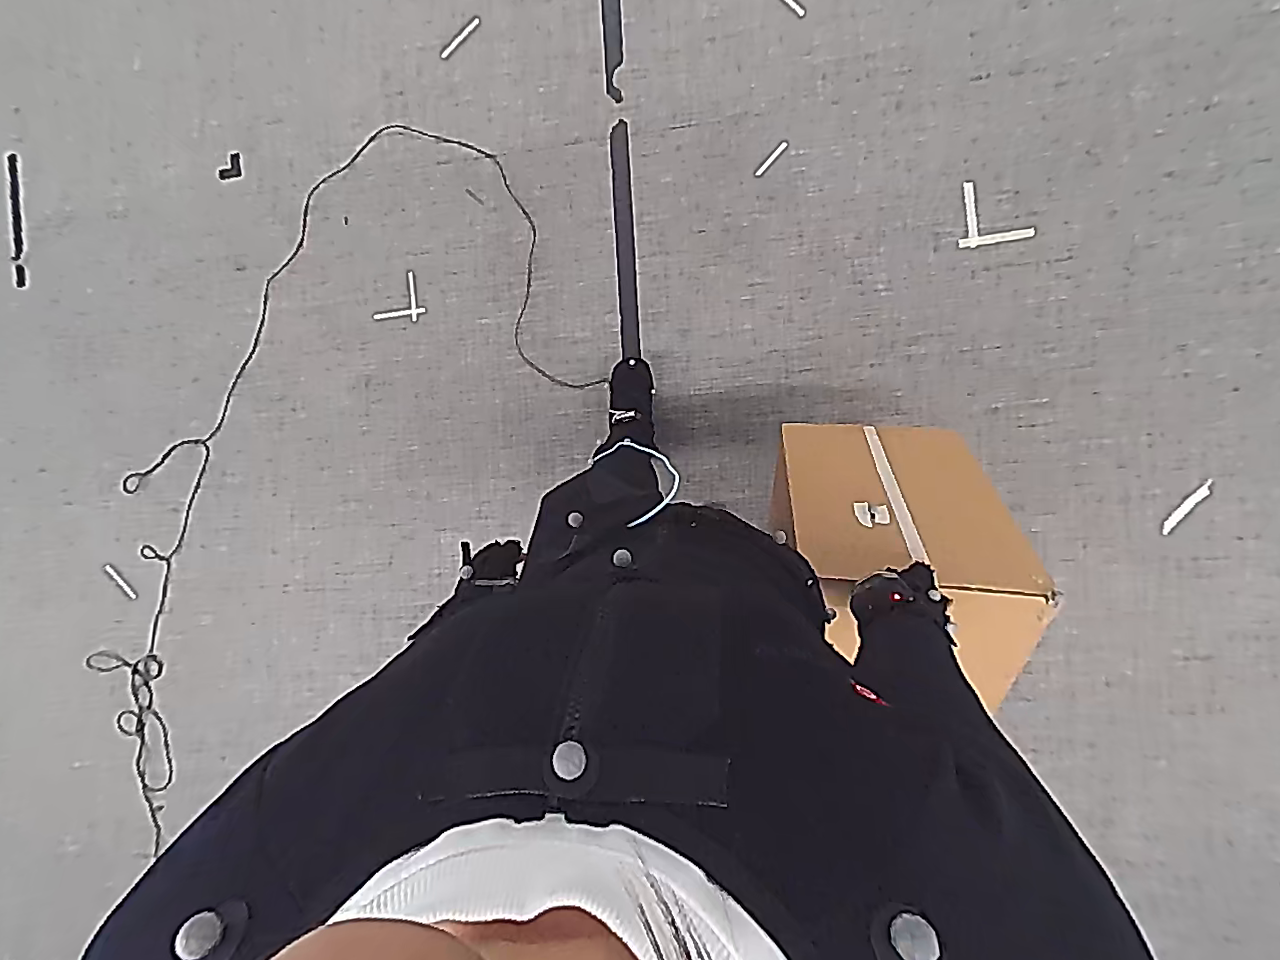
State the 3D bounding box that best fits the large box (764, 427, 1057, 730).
[{"bbox_3d":[0.395,0.147,0.930,0.320,0.408,0.320,3,126,8],"label":"large box"}]
